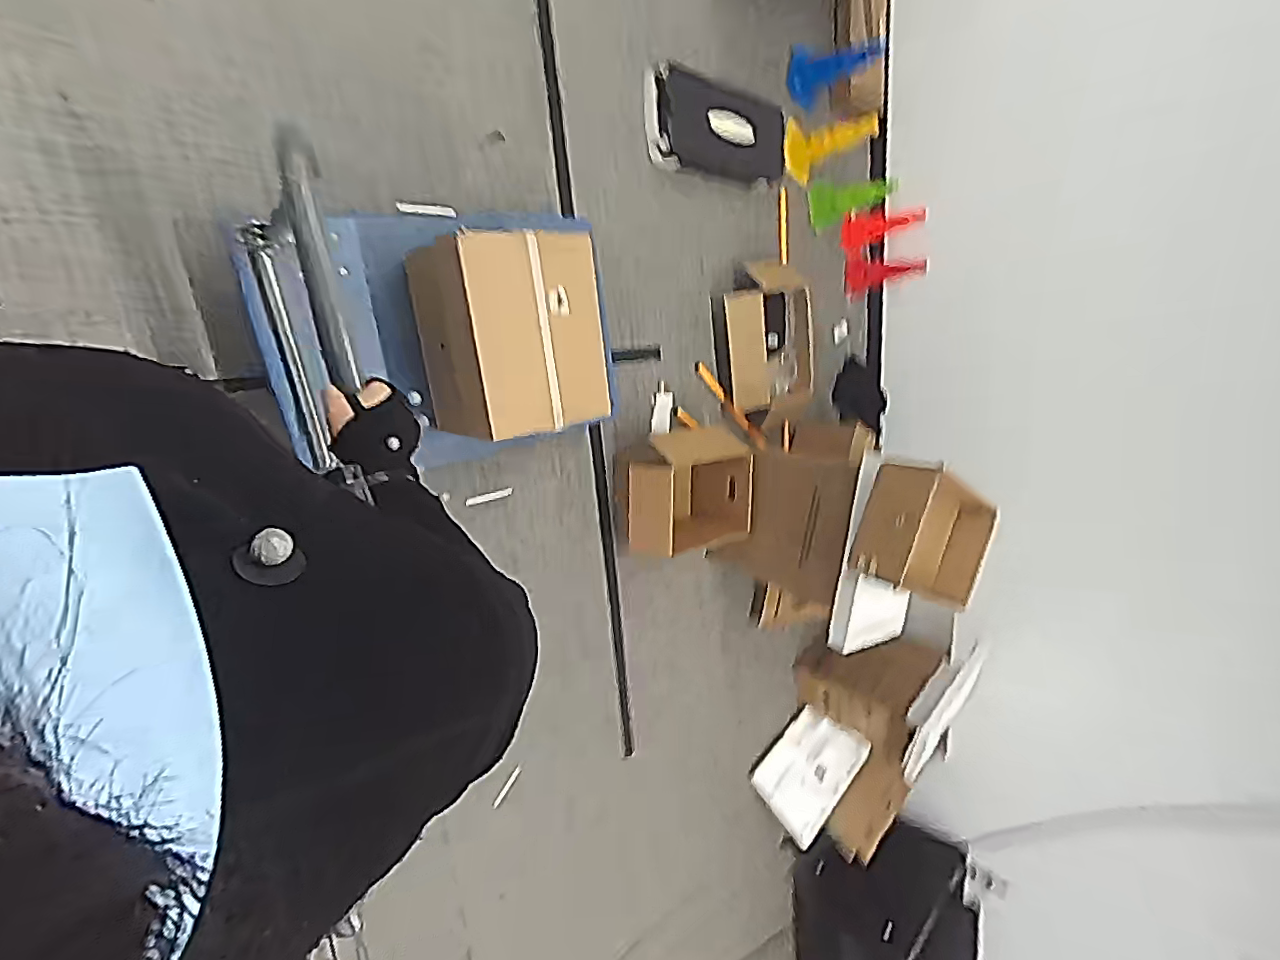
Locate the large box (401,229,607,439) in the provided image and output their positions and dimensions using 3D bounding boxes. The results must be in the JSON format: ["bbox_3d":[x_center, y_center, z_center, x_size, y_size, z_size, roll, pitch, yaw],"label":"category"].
[{"bbox_3d":[-0.310,-0.327,1.245,0.320,0.320,0.408,-19,109,-39],"label":"large box"}]
